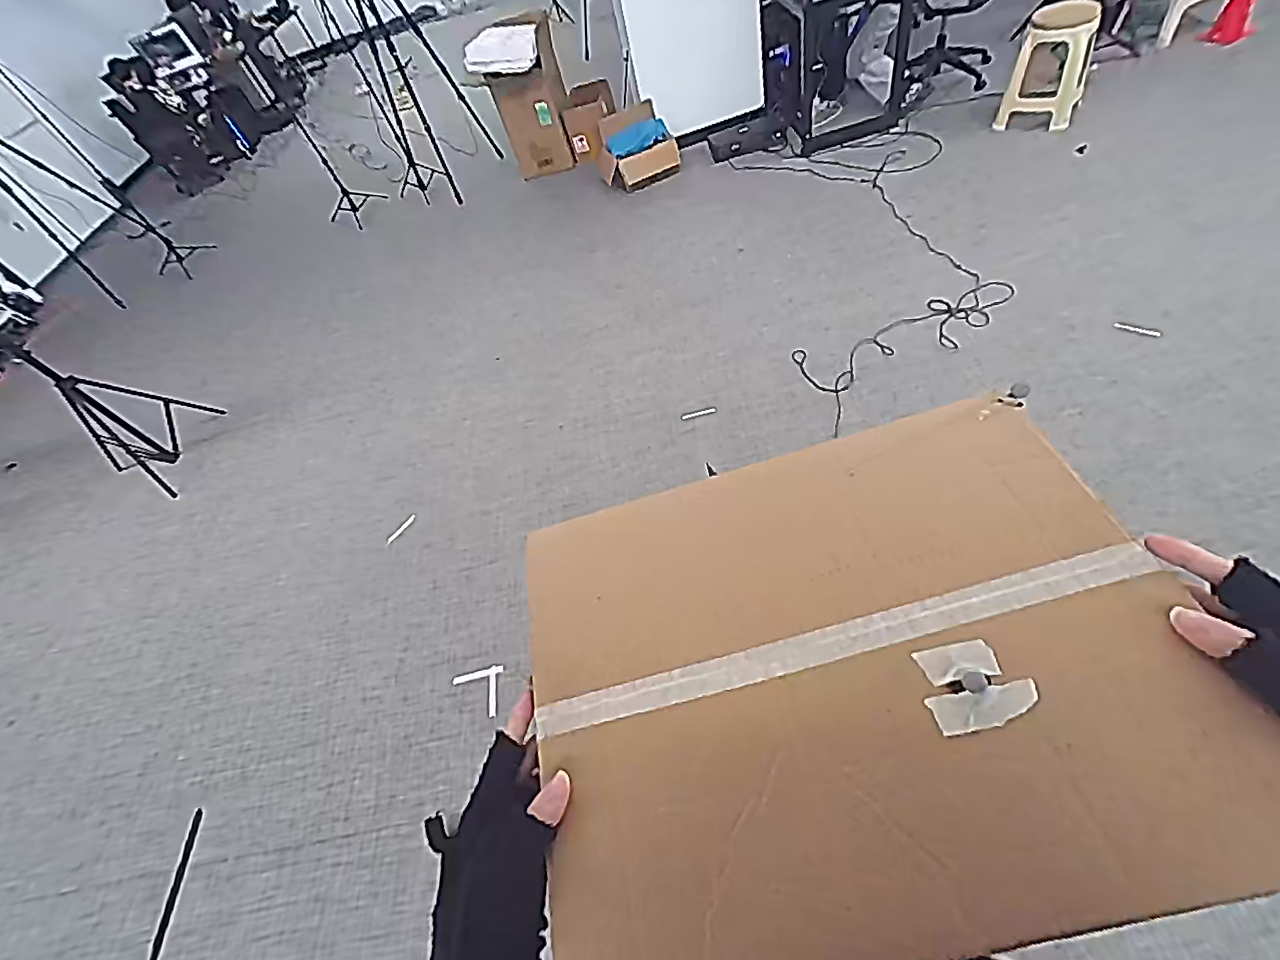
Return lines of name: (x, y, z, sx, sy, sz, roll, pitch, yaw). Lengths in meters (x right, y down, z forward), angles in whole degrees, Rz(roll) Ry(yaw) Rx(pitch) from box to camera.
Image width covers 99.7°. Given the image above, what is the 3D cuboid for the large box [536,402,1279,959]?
large box: (0.160, 0.195, 0.484, 0.408, 0.320, 0.320, -17, 53, 4)
